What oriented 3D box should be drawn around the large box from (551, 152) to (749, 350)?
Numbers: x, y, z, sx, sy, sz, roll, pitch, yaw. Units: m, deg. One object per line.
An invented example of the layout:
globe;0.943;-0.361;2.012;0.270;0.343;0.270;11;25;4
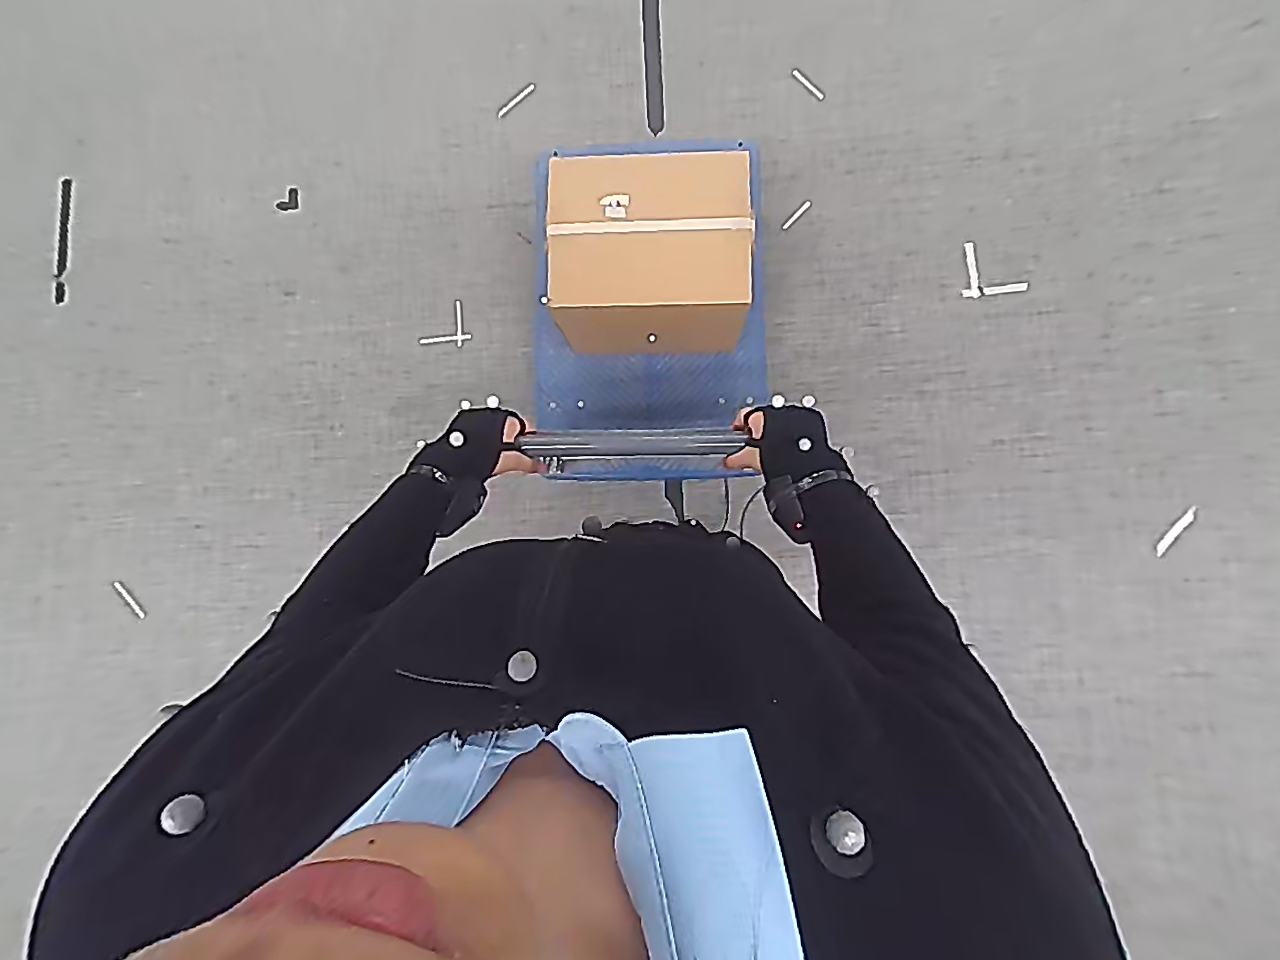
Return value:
large box;0.028;-0.496;1.240;0.408;0.320;0.320;0;85;4
